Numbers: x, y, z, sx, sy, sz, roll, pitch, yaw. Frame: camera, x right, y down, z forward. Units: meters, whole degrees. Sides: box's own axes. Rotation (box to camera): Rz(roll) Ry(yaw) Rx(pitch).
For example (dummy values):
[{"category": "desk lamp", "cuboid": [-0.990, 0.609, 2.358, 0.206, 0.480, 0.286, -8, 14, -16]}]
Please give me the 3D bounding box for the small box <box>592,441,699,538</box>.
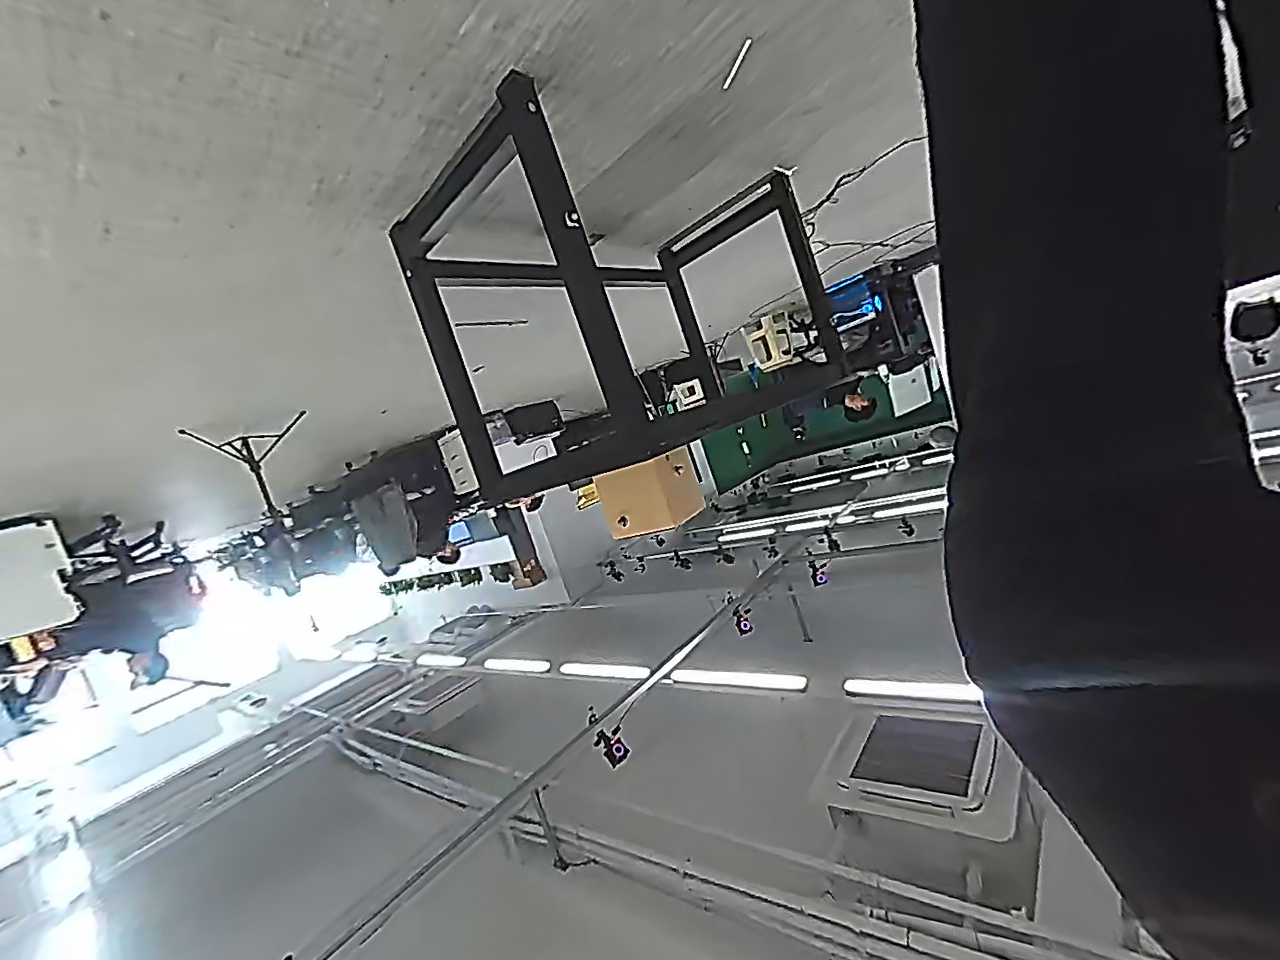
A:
[{"category": "small box", "cuboid": [0.008, 0.018, 1.258, 0.179, 0.176, 0.168, -16, -174, 35]}]
